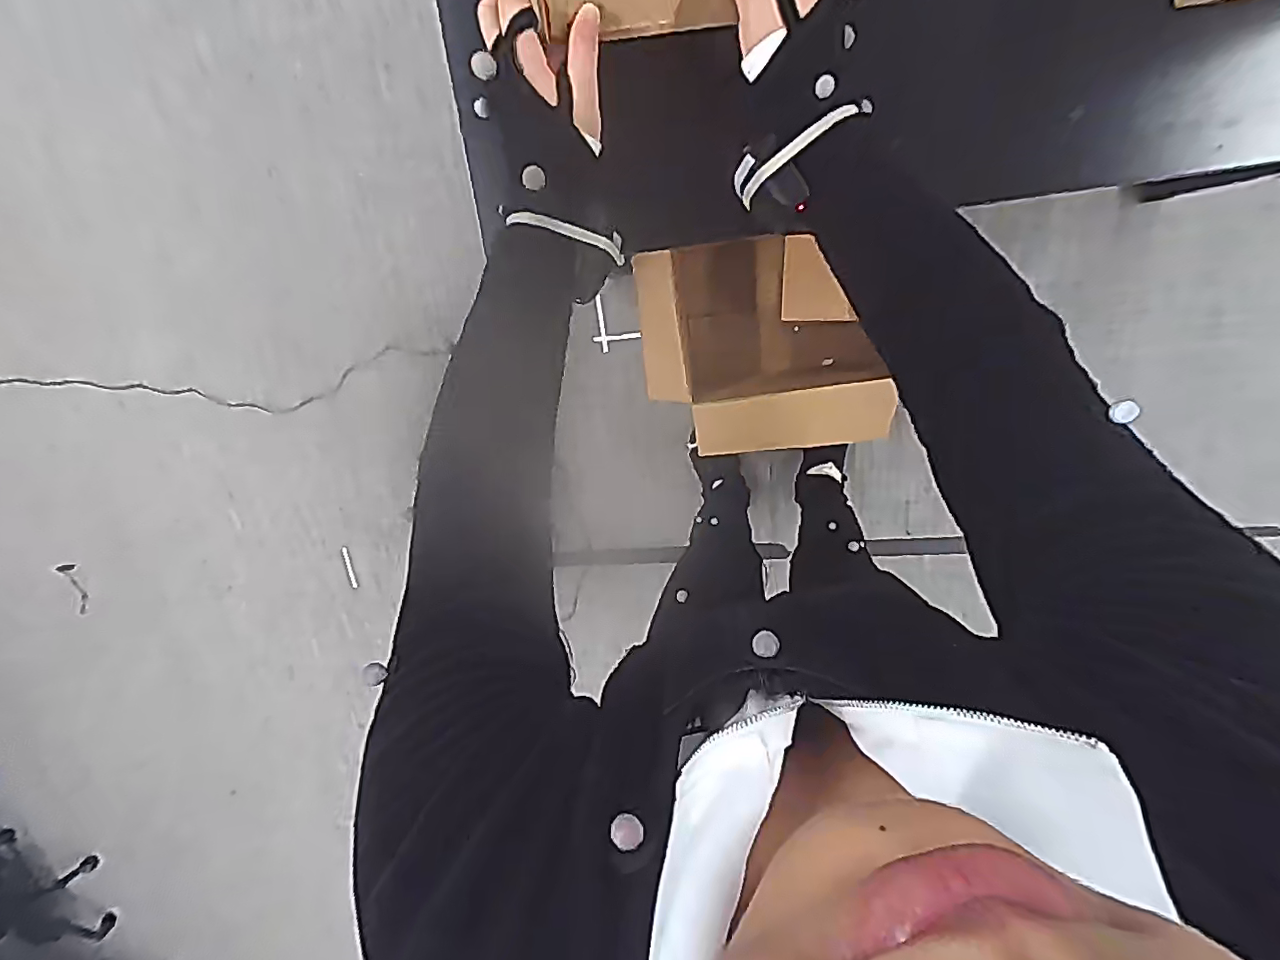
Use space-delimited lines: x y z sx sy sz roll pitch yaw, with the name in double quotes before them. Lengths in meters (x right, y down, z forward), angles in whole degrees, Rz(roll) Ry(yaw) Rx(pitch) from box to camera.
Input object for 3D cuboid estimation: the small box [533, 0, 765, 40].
"small box" -0.010 -0.434 0.350 0.176 0.179 0.168 -13 67 -6
